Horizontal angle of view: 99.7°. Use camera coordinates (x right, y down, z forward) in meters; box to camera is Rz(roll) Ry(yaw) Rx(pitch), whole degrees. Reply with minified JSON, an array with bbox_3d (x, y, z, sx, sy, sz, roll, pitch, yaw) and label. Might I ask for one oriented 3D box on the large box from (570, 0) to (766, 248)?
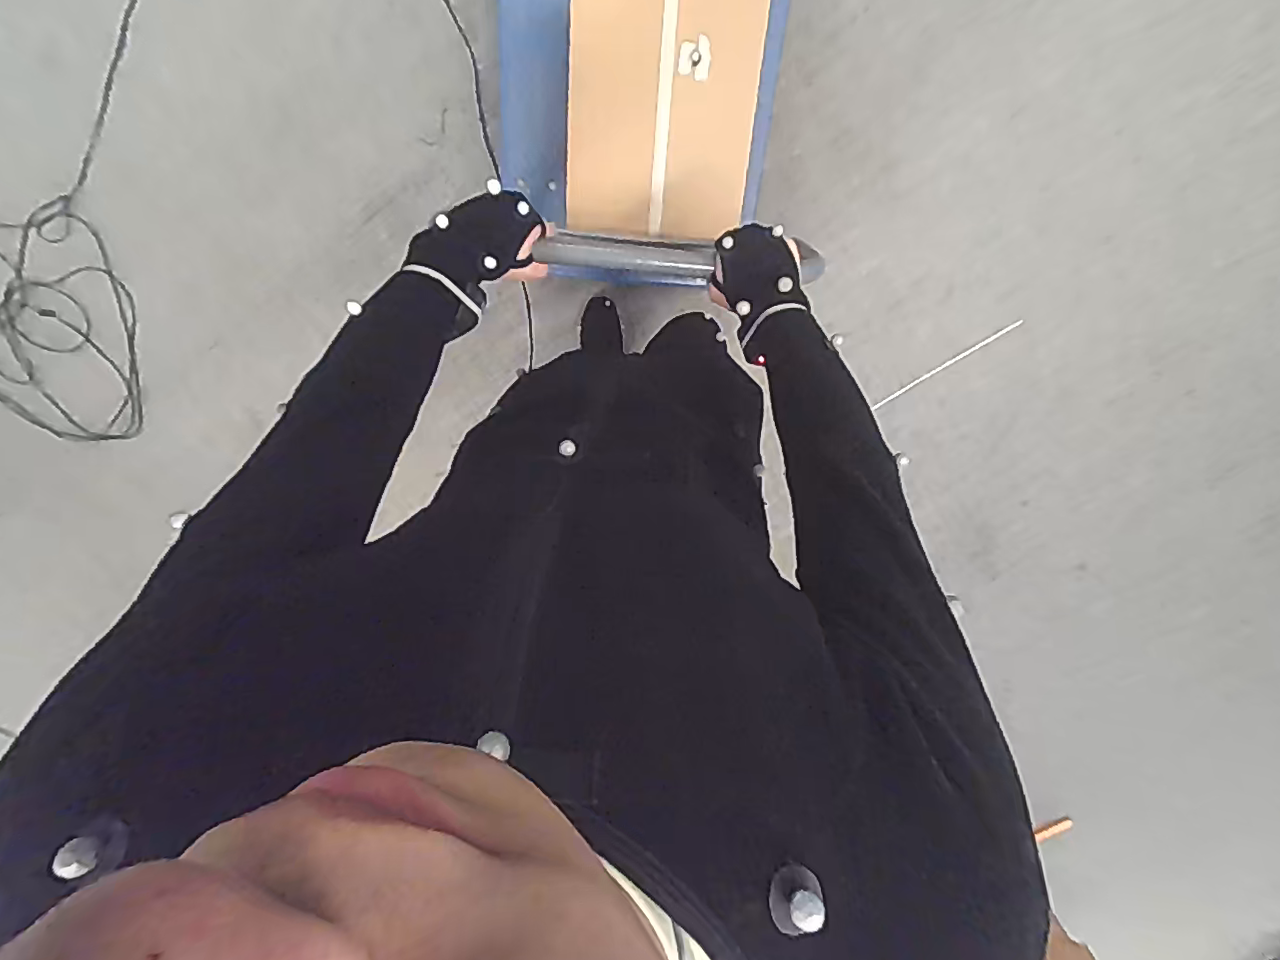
[{"bbox_3d":[0.037,-0.681,1.059,0.320,0.320,0.408,4,112,-4],"label":"large box"}]
